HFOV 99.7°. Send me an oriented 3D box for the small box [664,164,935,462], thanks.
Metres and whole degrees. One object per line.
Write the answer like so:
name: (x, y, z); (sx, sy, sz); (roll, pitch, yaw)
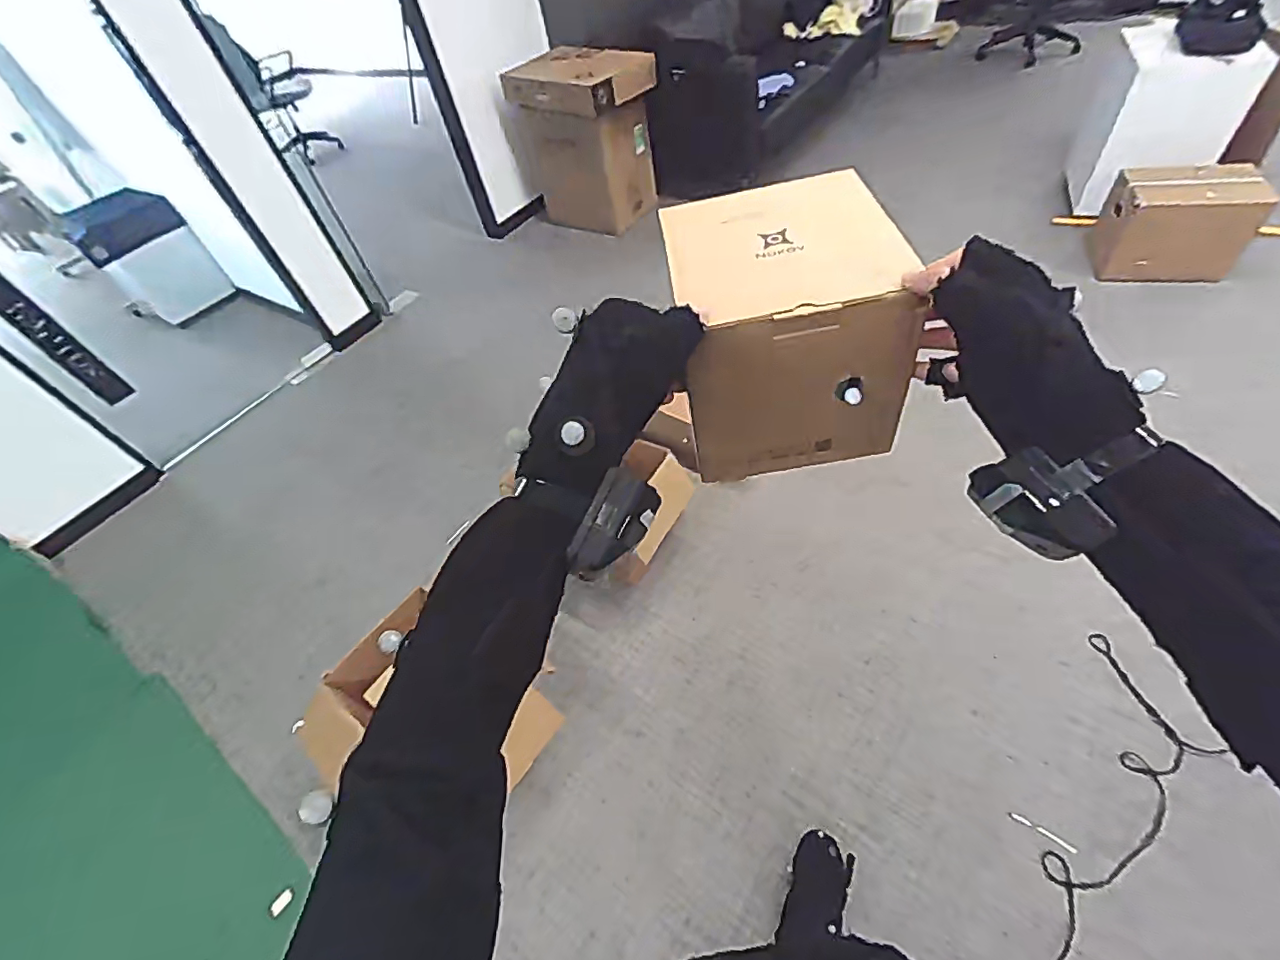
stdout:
small box: (0.120, -0.131, 0.464); (0.168, 0.176, 0.179); (-9, 52, 6)
